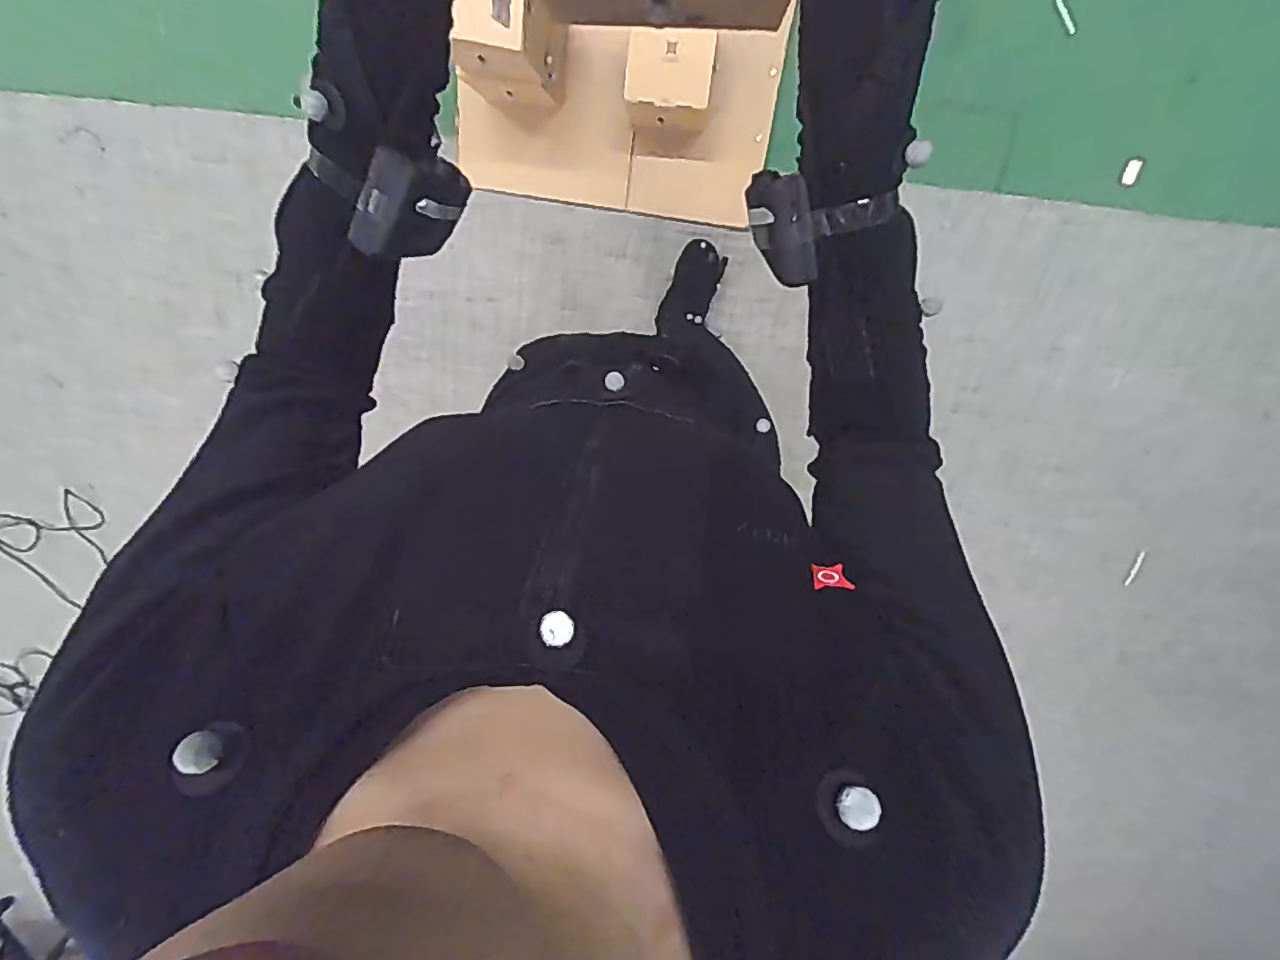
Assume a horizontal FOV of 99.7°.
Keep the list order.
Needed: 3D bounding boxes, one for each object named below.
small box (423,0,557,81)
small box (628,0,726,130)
[{"bbox_3d":[-0.249,-0.819,0.930,0.179,0.176,0.168,12,112,2],"label":"small box"},{"bbox_3d":[0.071,-0.829,1.083,0.168,0.176,0.179,7,112,2],"label":"small box"}]
